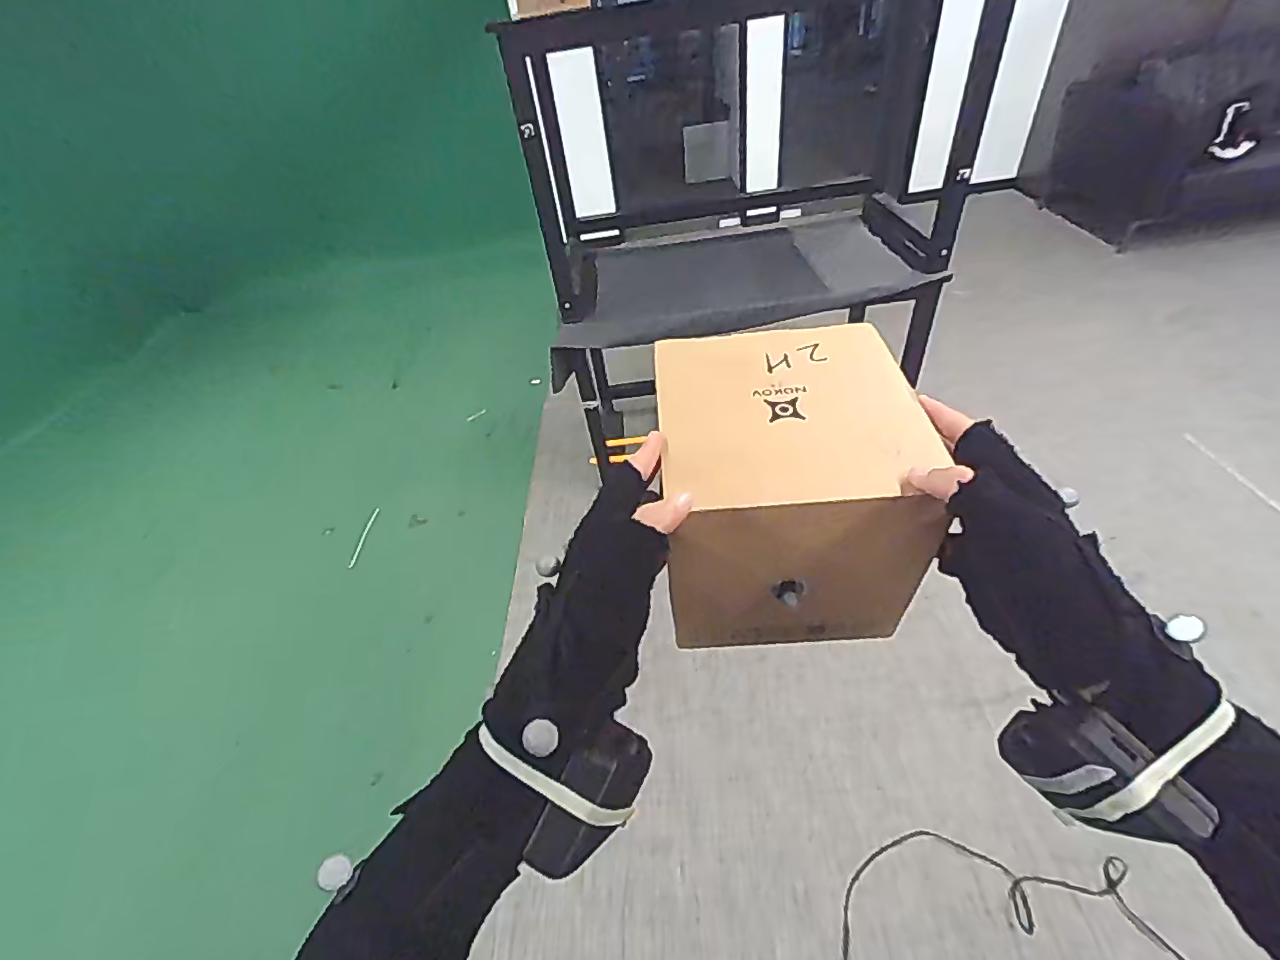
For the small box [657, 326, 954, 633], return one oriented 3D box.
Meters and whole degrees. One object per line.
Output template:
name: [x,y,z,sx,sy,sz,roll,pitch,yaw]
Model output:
small box: [0.103,0.006,0.419,0.168,0.176,0.179,-4,45,3]
